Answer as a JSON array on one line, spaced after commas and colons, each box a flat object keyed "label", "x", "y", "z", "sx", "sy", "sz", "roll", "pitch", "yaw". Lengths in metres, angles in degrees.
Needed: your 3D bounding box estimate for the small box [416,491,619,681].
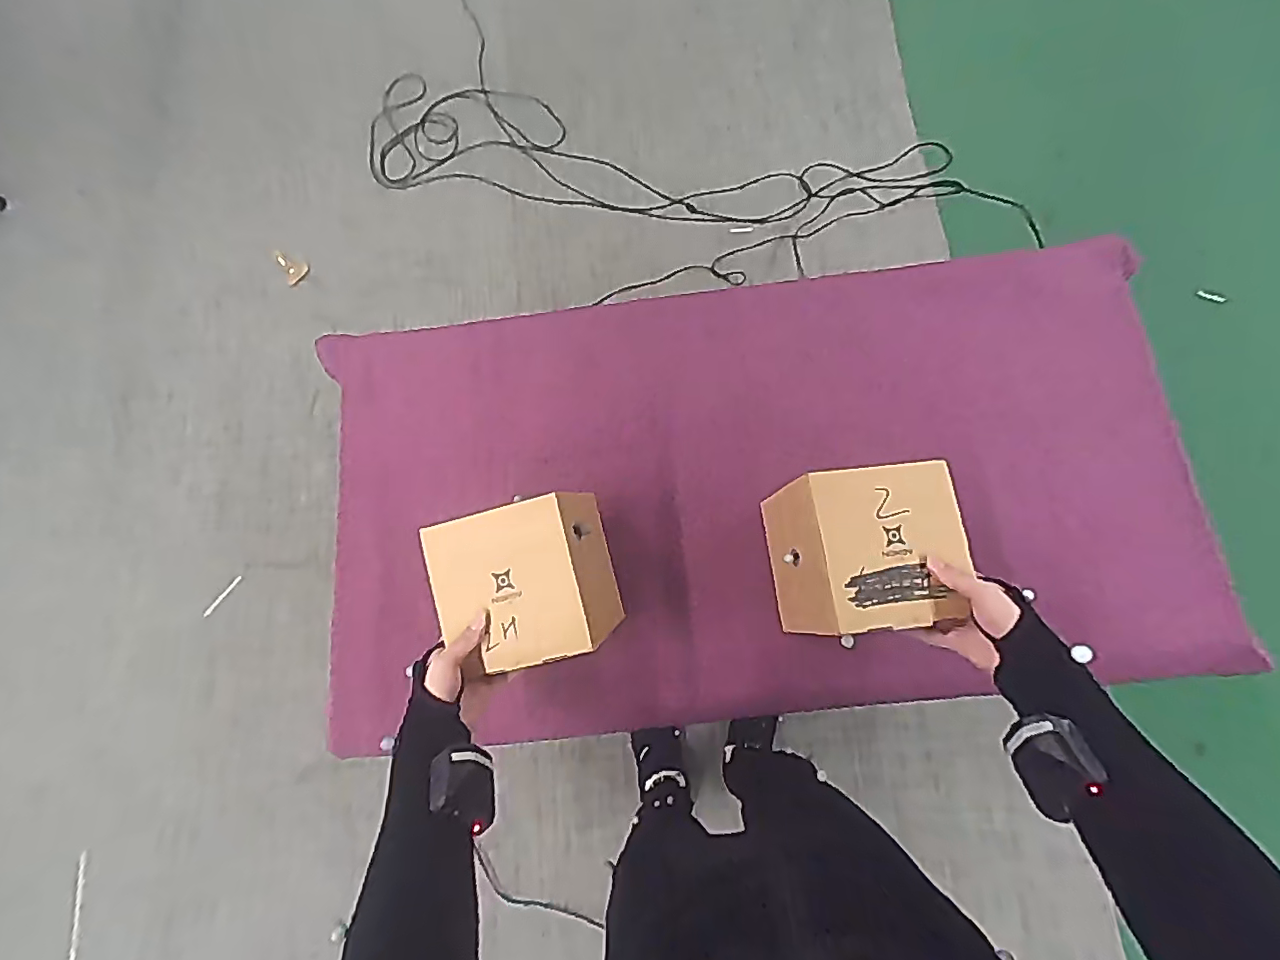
[{"label": "small box", "x": -0.136, "y": 0.117, "z": 0.653, "sx": 0.168, "sy": 0.176, "sz": 0.179, "roll": -15, "pitch": 86, "yaw": 9}]
